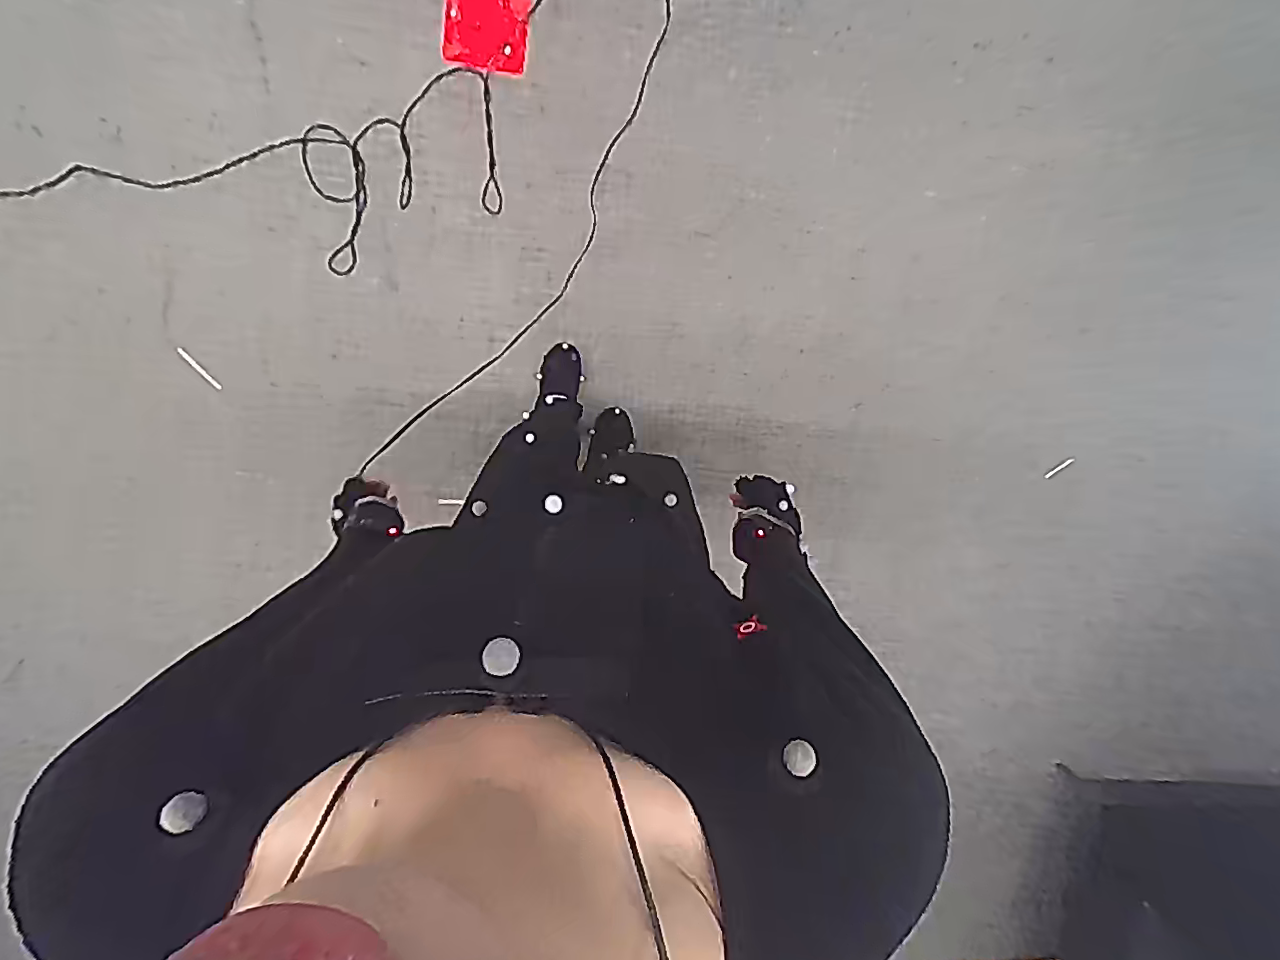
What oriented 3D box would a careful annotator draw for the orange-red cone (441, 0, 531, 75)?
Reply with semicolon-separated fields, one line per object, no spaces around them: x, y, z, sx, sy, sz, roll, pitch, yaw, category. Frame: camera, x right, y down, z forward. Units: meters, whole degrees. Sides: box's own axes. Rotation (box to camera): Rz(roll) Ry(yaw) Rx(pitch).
-0.358;-1.070;1.127;0.198;0.360;0.199;9;98;-6;orange-red cone
